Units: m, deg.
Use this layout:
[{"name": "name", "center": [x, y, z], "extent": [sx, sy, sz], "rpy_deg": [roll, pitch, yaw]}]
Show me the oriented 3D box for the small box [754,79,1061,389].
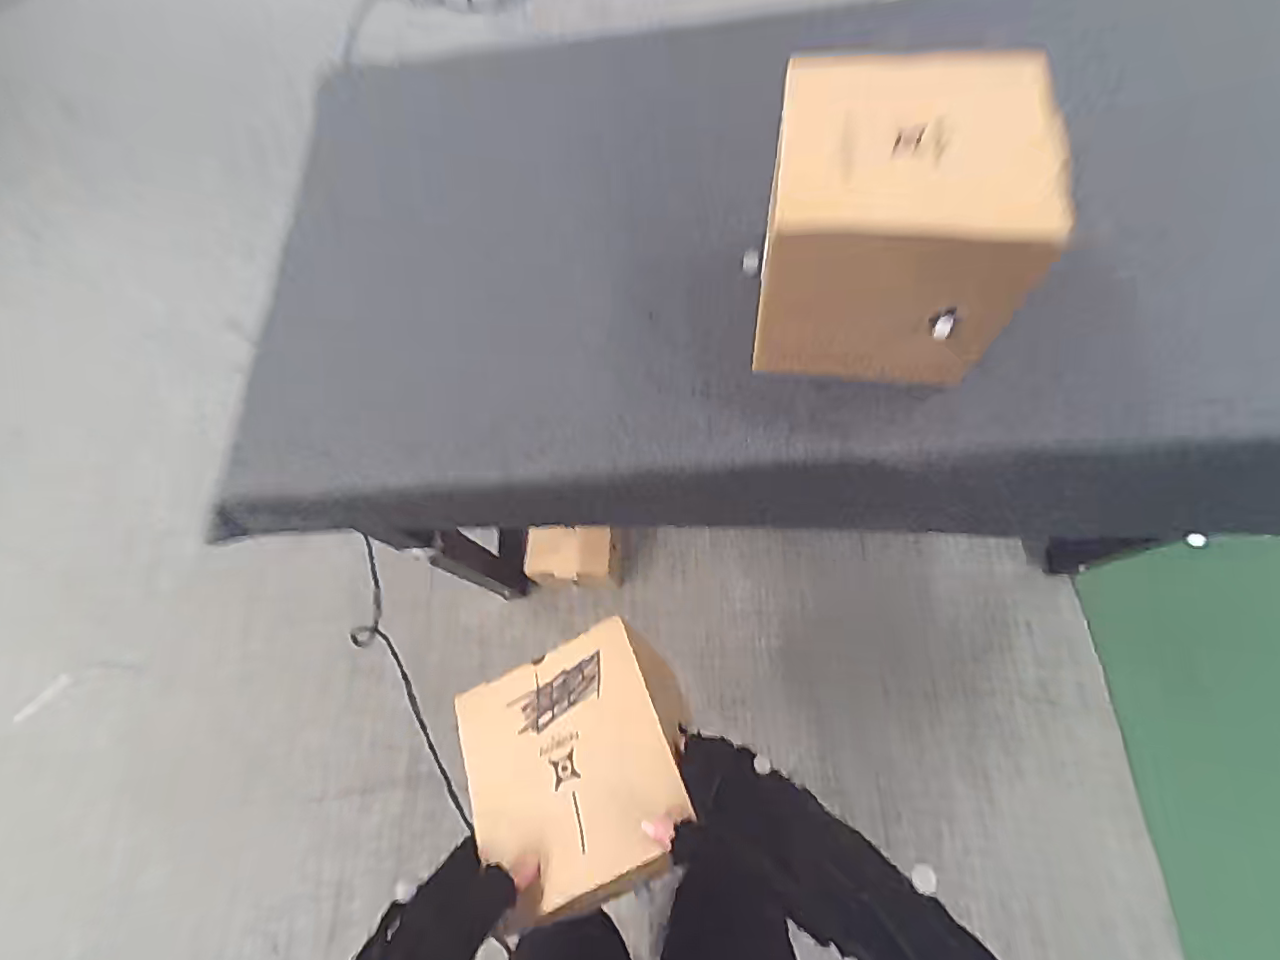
[{"name": "small box", "center": [0.195, -0.190, 0.447], "extent": [0.179, 0.176, 0.168], "rpy_deg": [5, 67, 9]}]
